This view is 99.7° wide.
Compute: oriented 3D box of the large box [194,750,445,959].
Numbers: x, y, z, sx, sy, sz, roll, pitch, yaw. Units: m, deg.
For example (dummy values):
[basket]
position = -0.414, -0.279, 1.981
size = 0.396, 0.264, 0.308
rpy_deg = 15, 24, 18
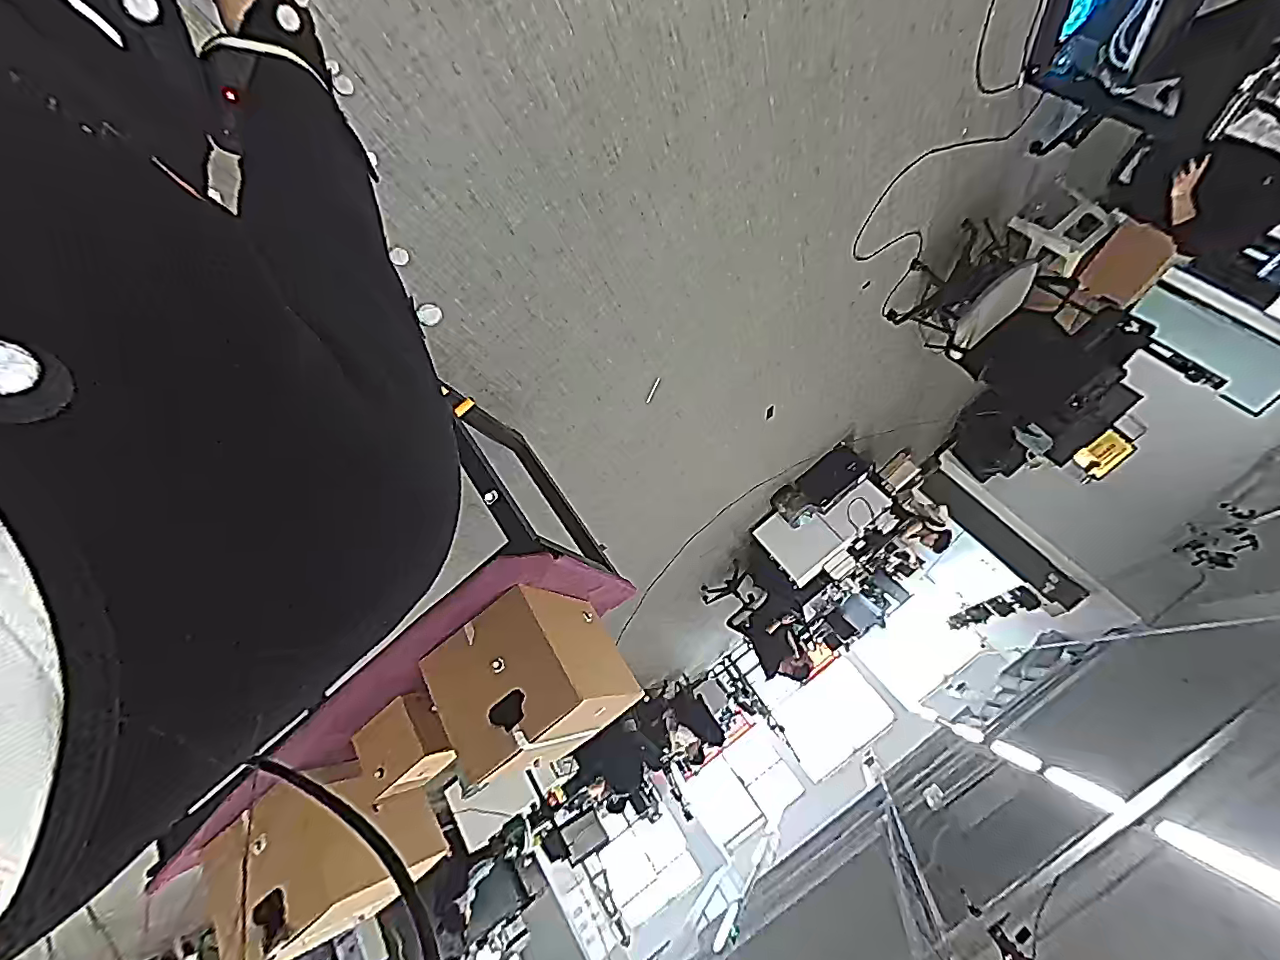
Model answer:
[large box]
position = -0.798, 0.948, 1.380
size = 0.320, 0.320, 0.408
rpy_deg = -40, 155, 3
